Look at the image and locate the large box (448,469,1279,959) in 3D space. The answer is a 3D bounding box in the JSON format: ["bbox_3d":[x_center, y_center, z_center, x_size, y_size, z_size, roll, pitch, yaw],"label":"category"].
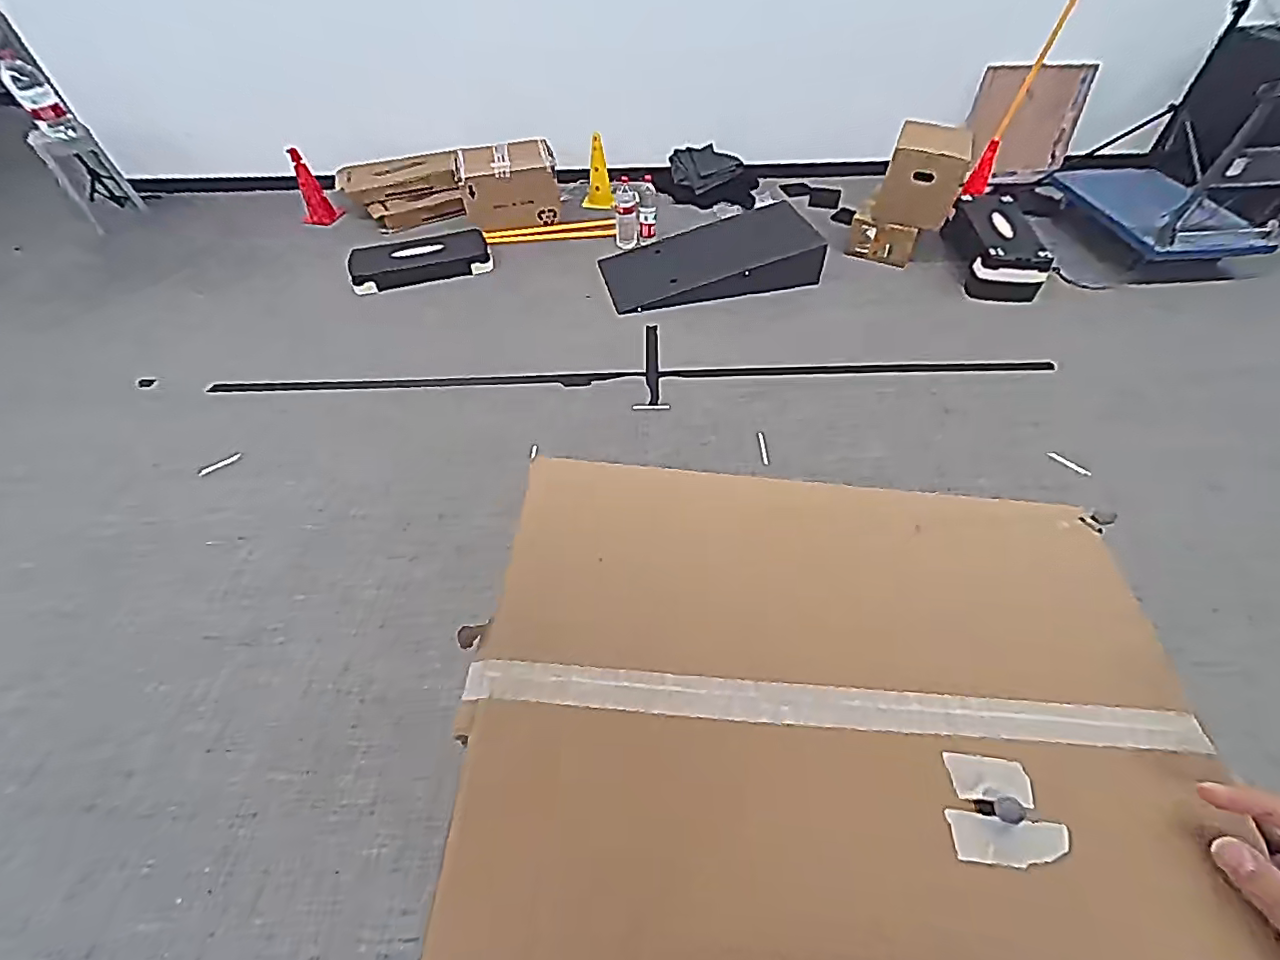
[{"bbox_3d":[0.104,0.218,0.431,0.408,0.320,0.320,6,54,-2],"label":"large box"}]
